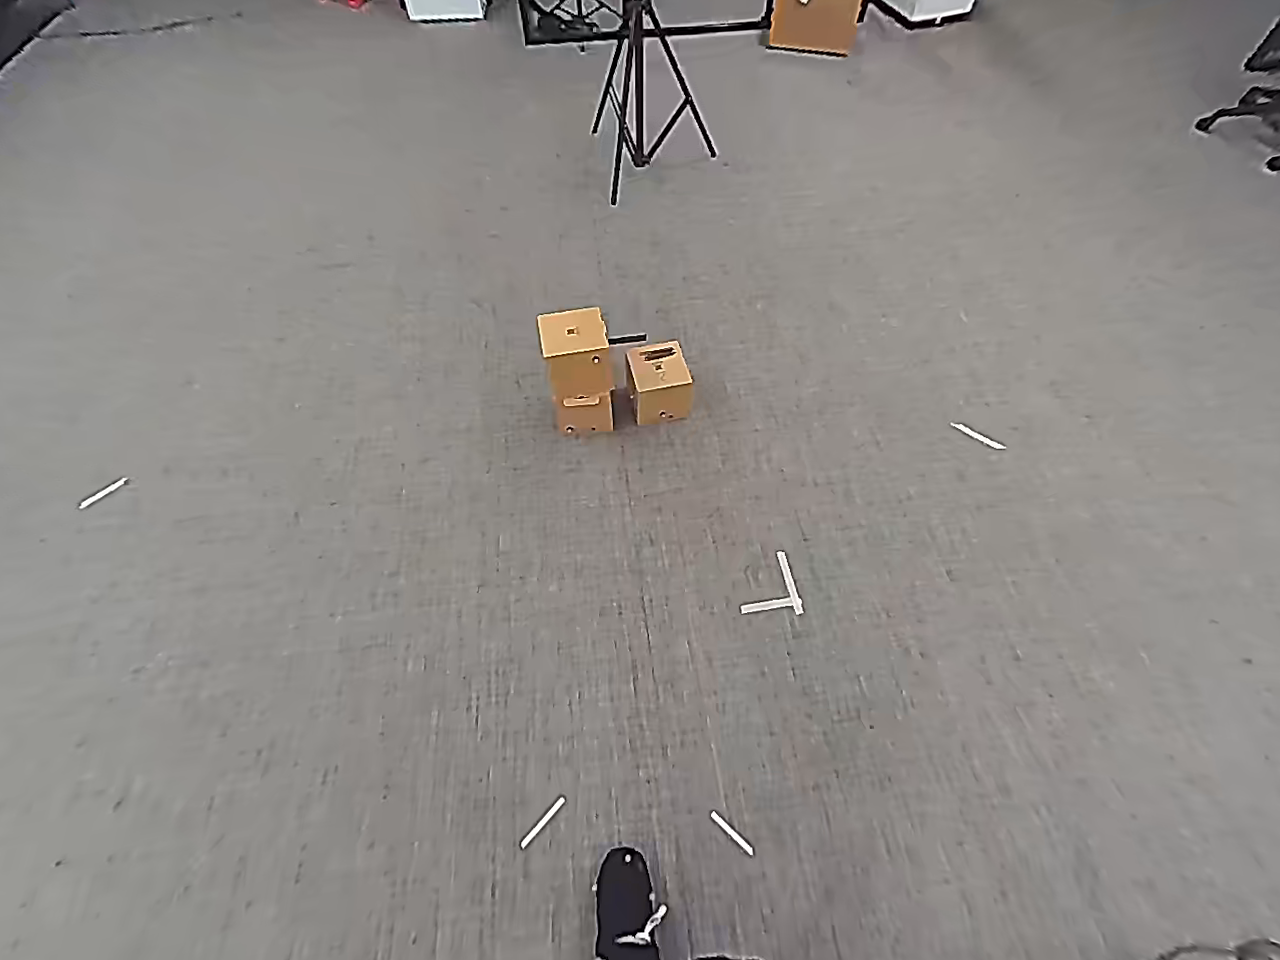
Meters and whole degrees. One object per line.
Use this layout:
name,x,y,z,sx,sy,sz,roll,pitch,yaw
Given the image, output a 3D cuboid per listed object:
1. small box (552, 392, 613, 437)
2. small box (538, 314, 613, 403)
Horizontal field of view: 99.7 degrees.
small box,-0.172,-0.242,1.649,0.168,0.176,0.179,-5,57,-2
small box,-0.179,-0.336,1.516,0.179,0.176,0.168,-11,58,-6
